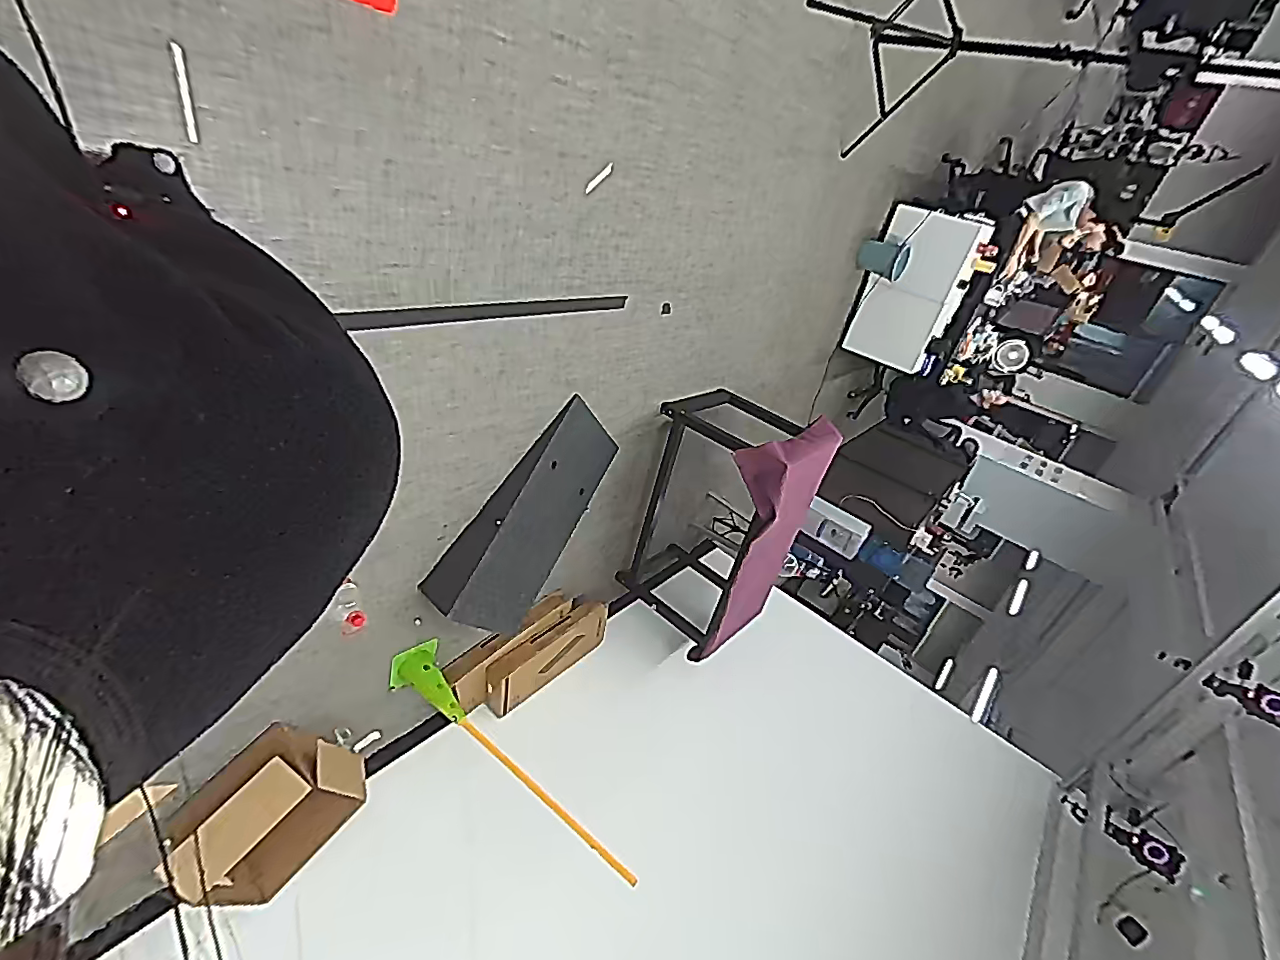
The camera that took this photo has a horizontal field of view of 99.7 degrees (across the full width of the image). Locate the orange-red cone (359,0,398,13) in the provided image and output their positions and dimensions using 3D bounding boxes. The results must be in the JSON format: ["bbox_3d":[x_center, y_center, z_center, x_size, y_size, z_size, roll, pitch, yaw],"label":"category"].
[{"bbox_3d":[-0.431,-0.967,0.951,0.198,0.360,0.199,-19,134,-47],"label":"orange-red cone"}]
